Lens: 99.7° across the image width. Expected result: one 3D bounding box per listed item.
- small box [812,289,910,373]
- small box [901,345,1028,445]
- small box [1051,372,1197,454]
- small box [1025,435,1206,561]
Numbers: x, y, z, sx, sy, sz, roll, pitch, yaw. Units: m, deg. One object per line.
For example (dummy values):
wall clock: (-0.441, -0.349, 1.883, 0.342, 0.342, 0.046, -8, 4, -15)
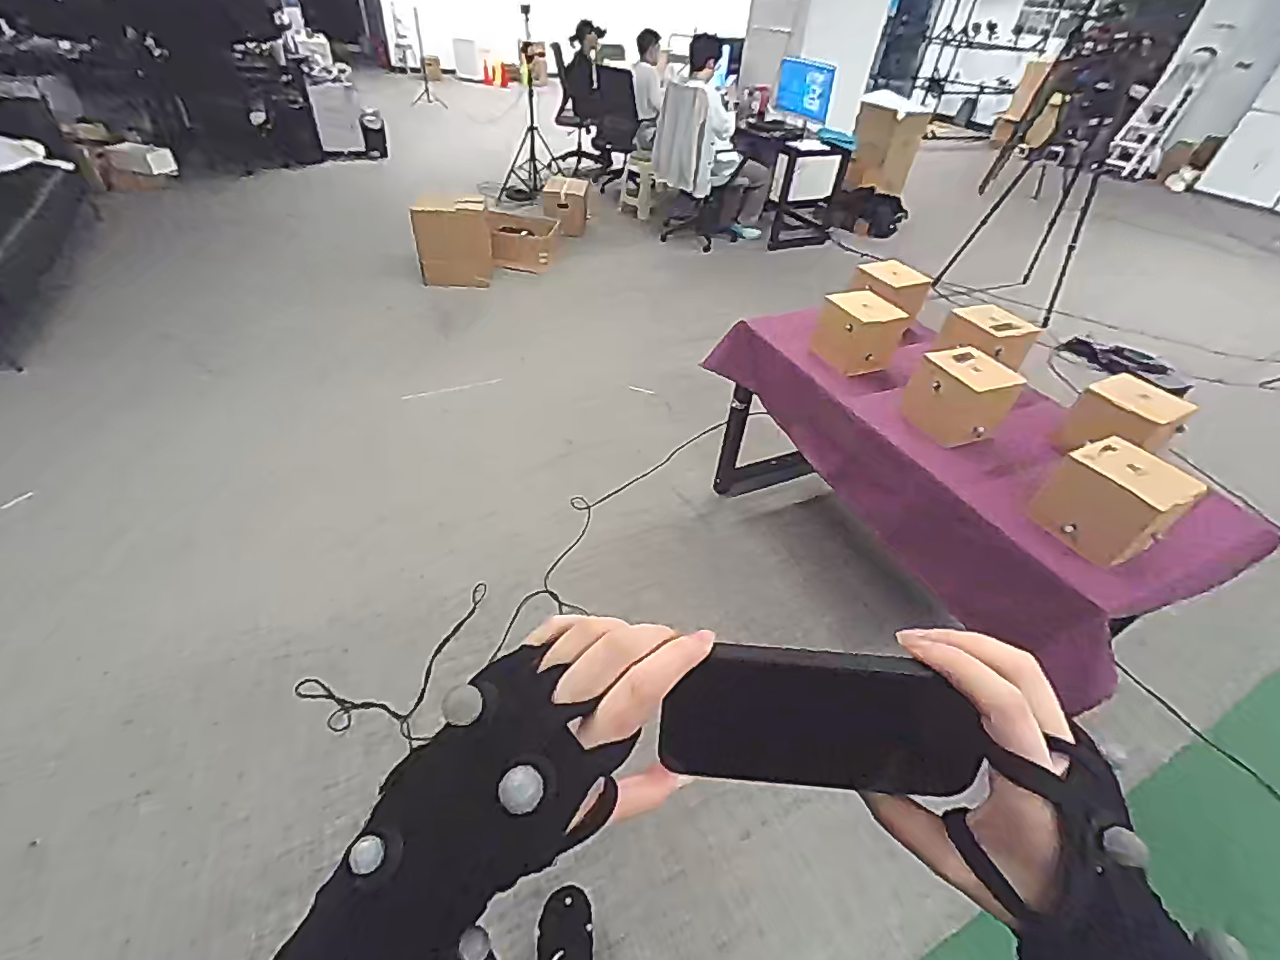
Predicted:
small box: (0.627, -0.432, 1.562, 0.168, 0.176, 0.179, -13, 47, -20)
small box: (0.789, -0.211, 1.338, 0.168, 0.176, 0.179, -12, 46, -19)
small box: (1.143, -0.133, 1.292, 0.179, 0.176, 0.168, -17, 47, -22)
small box: (0.934, 0.041, 1.078, 0.168, 0.176, 0.179, -15, 46, -22)
